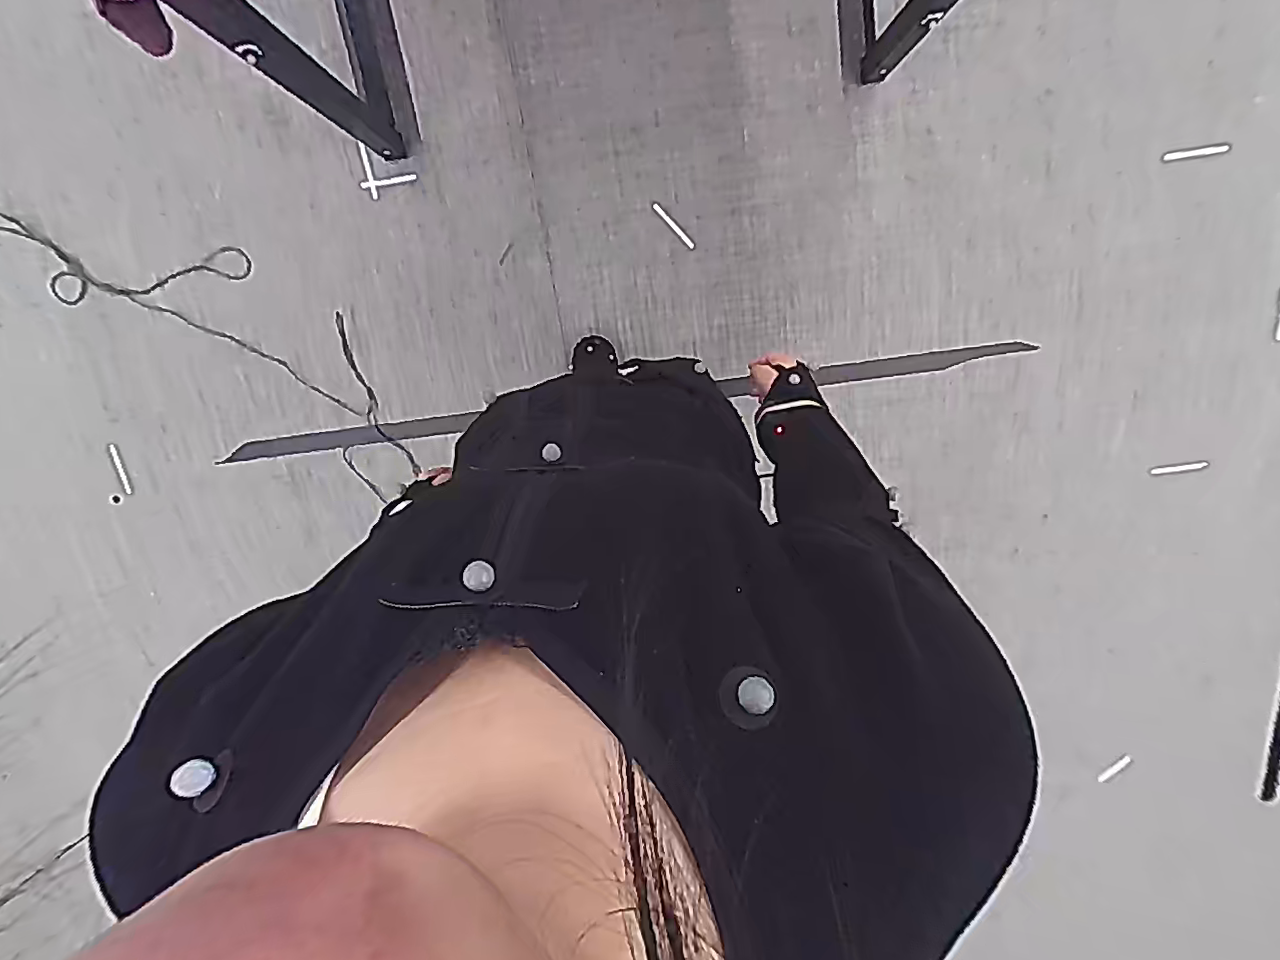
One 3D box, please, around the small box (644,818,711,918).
[{"bbox_3d":[0.115,1.219,1.706,0.168,0.176,0.179,-17,104,3],"label":"small box"}]
